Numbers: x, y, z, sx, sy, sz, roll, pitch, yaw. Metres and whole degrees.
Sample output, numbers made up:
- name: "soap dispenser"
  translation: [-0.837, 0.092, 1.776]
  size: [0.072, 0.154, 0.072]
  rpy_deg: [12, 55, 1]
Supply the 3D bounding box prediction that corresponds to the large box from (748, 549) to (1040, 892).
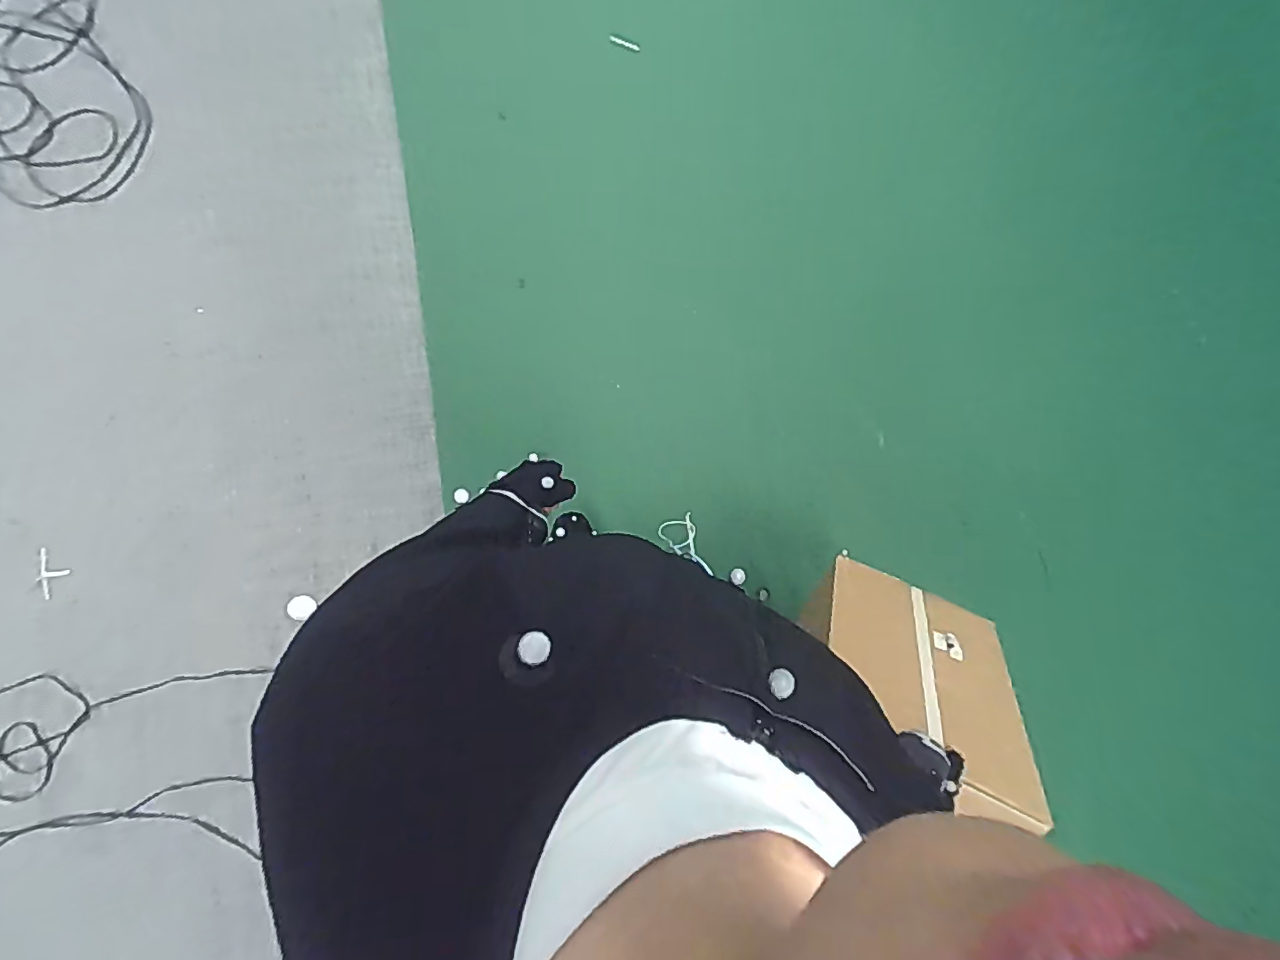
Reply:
- name: "large box"
  translation: [0.417, 0.405, 0.975]
  size: [0.320, 0.408, 0.320]
  rpy_deg: [25, 123, 9]
